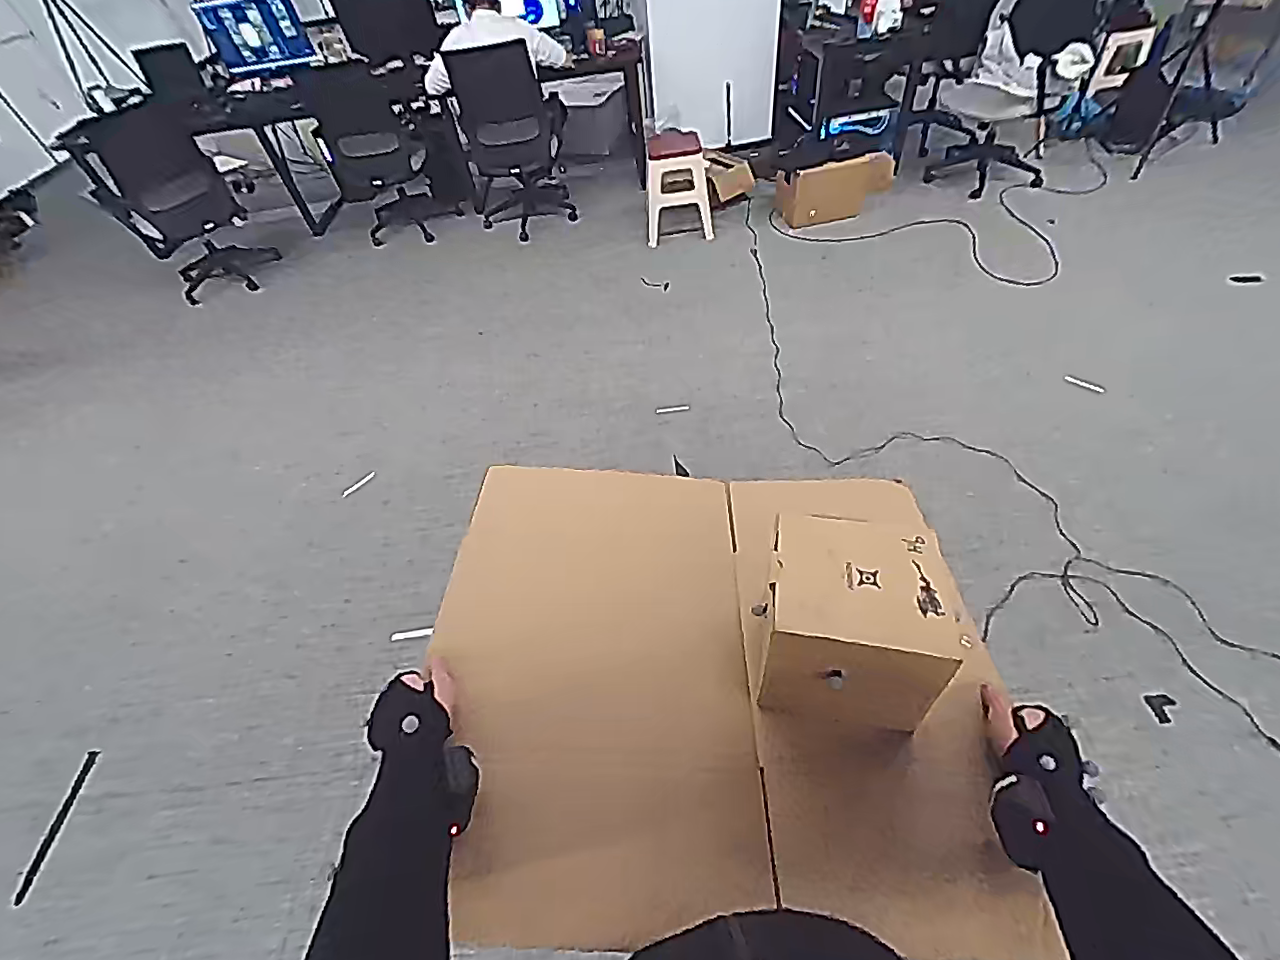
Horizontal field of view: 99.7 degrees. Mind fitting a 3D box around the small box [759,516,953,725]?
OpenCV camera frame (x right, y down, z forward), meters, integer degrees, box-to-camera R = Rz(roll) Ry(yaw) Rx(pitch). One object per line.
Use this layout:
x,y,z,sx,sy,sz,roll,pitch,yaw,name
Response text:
0.236,0.164,0.635,0.179,0.176,0.168,5,45,12,small box
